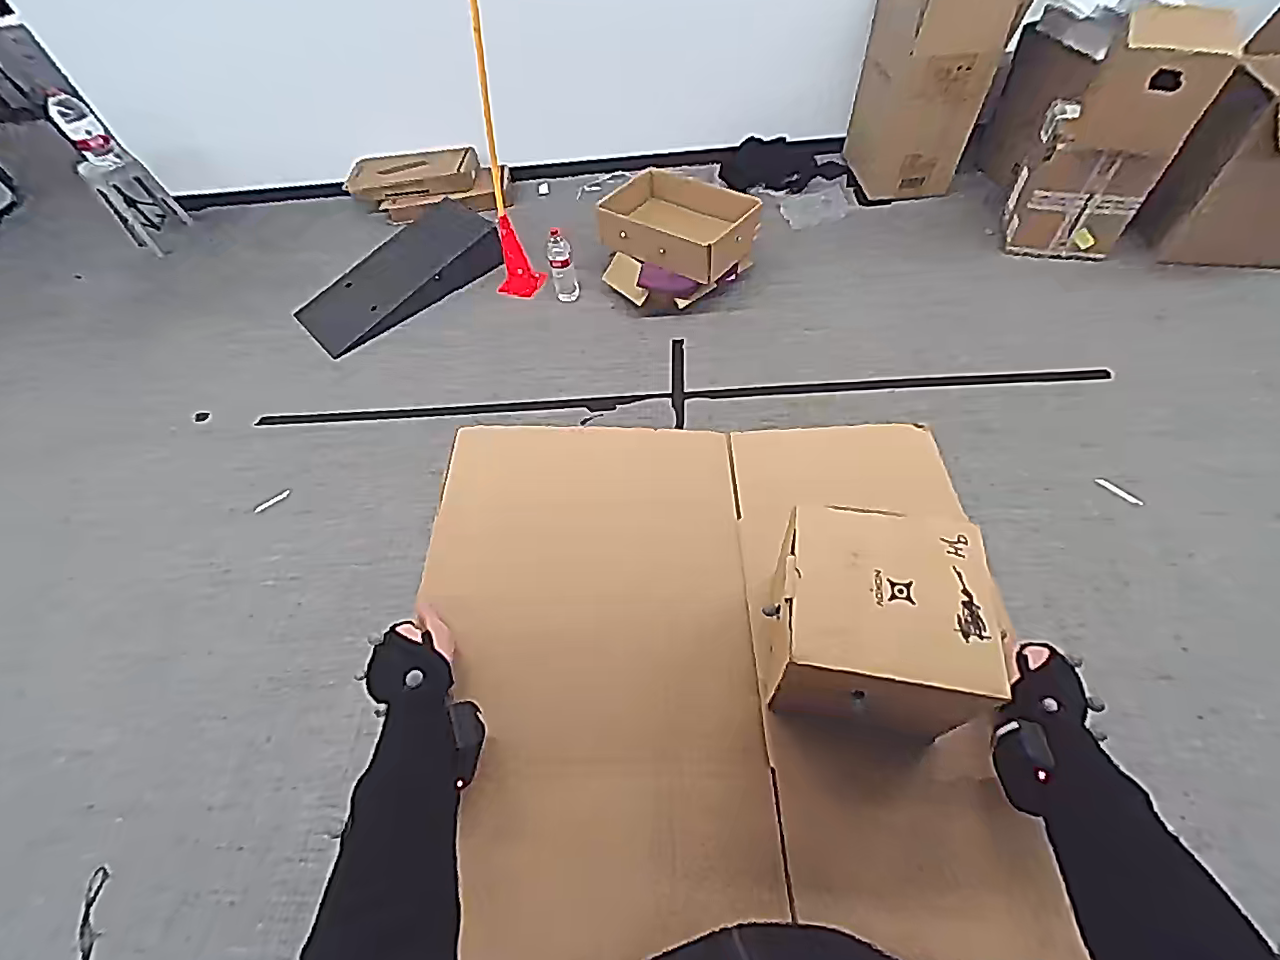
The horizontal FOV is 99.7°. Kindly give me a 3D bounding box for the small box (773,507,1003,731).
[{"bbox_3d":[0.237,0.148,0.565,0.179,0.176,0.168,6,56,11],"label":"small box"}]
